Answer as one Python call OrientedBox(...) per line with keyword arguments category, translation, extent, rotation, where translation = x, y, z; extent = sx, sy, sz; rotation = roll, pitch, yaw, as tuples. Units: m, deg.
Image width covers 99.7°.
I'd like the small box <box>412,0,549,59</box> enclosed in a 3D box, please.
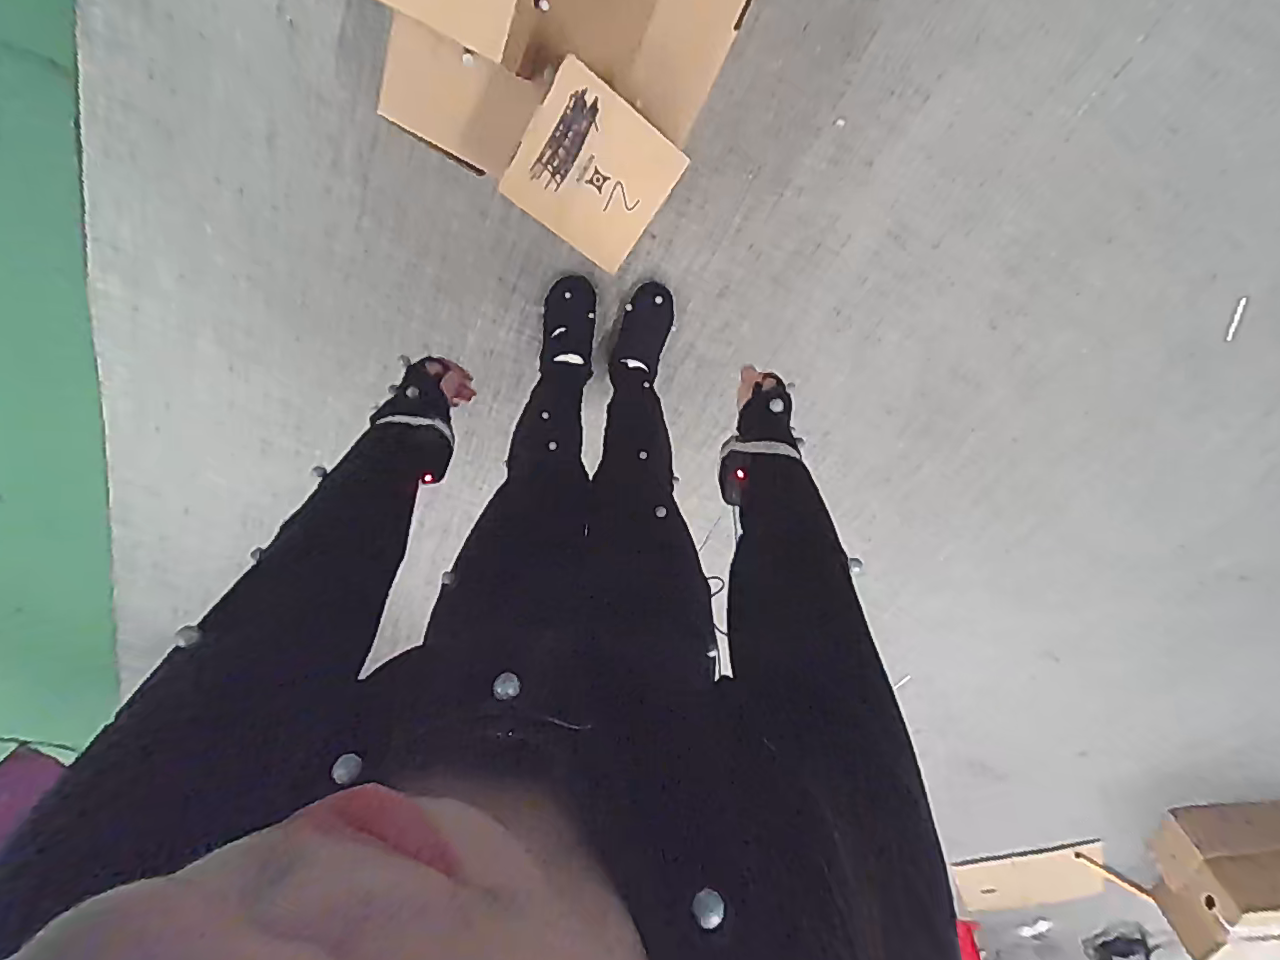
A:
OrientedBox(category="small box", translation=(-0.185, -0.598, 0.592), extent=(0.179, 0.176, 0.168), rotation=(22, 120, -13))
